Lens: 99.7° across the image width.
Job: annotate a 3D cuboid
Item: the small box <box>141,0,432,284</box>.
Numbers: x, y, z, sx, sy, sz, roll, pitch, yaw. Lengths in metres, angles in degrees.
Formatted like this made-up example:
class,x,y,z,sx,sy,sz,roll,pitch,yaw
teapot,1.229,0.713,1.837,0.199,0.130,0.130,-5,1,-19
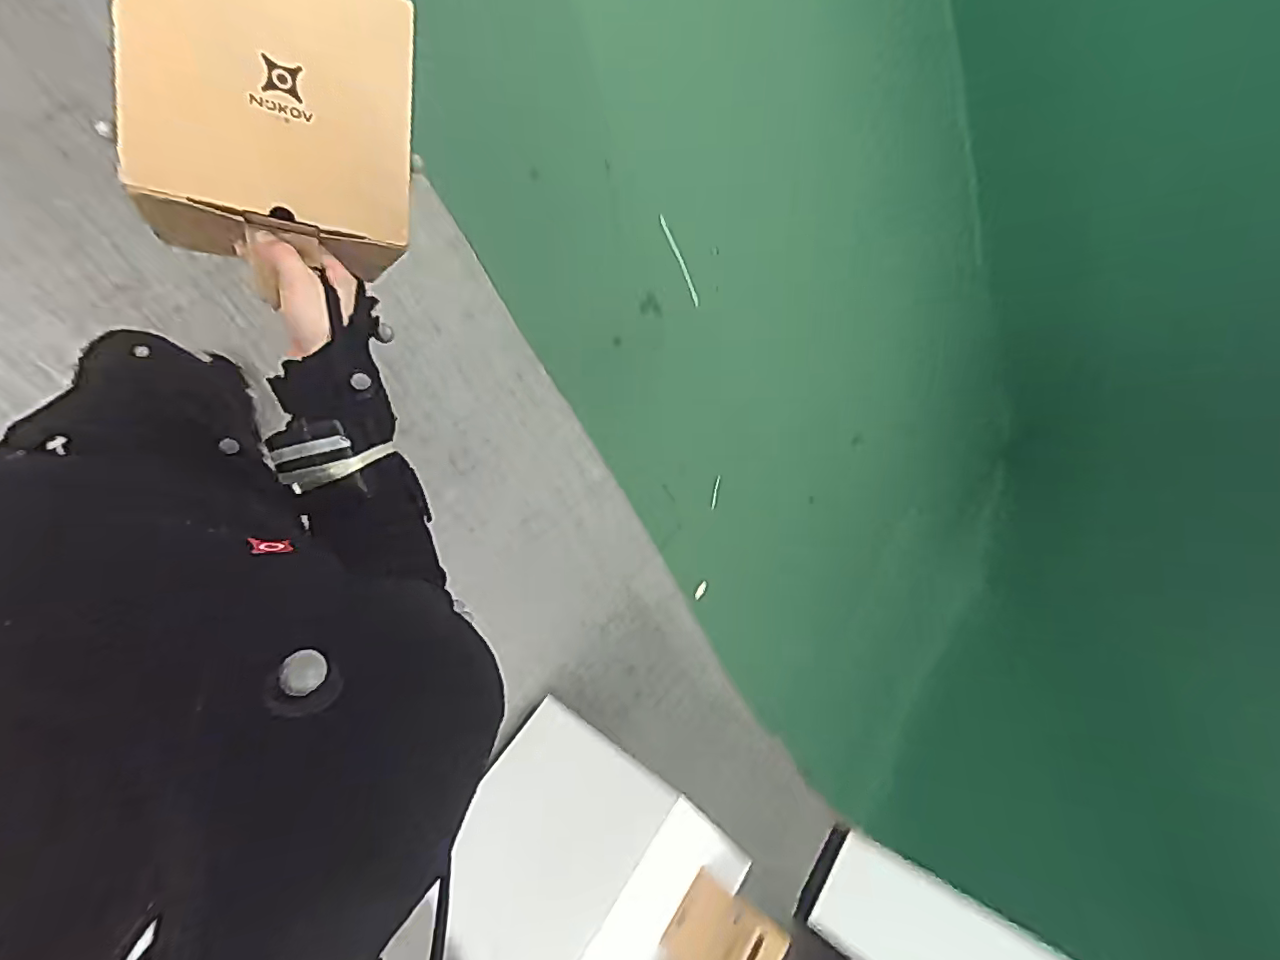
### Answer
class,x,y,z,sx,sy,sz,roll,pitch,yaw
small box,-0.277,-0.271,0.431,0.168,0.176,0.179,1,99,-36
